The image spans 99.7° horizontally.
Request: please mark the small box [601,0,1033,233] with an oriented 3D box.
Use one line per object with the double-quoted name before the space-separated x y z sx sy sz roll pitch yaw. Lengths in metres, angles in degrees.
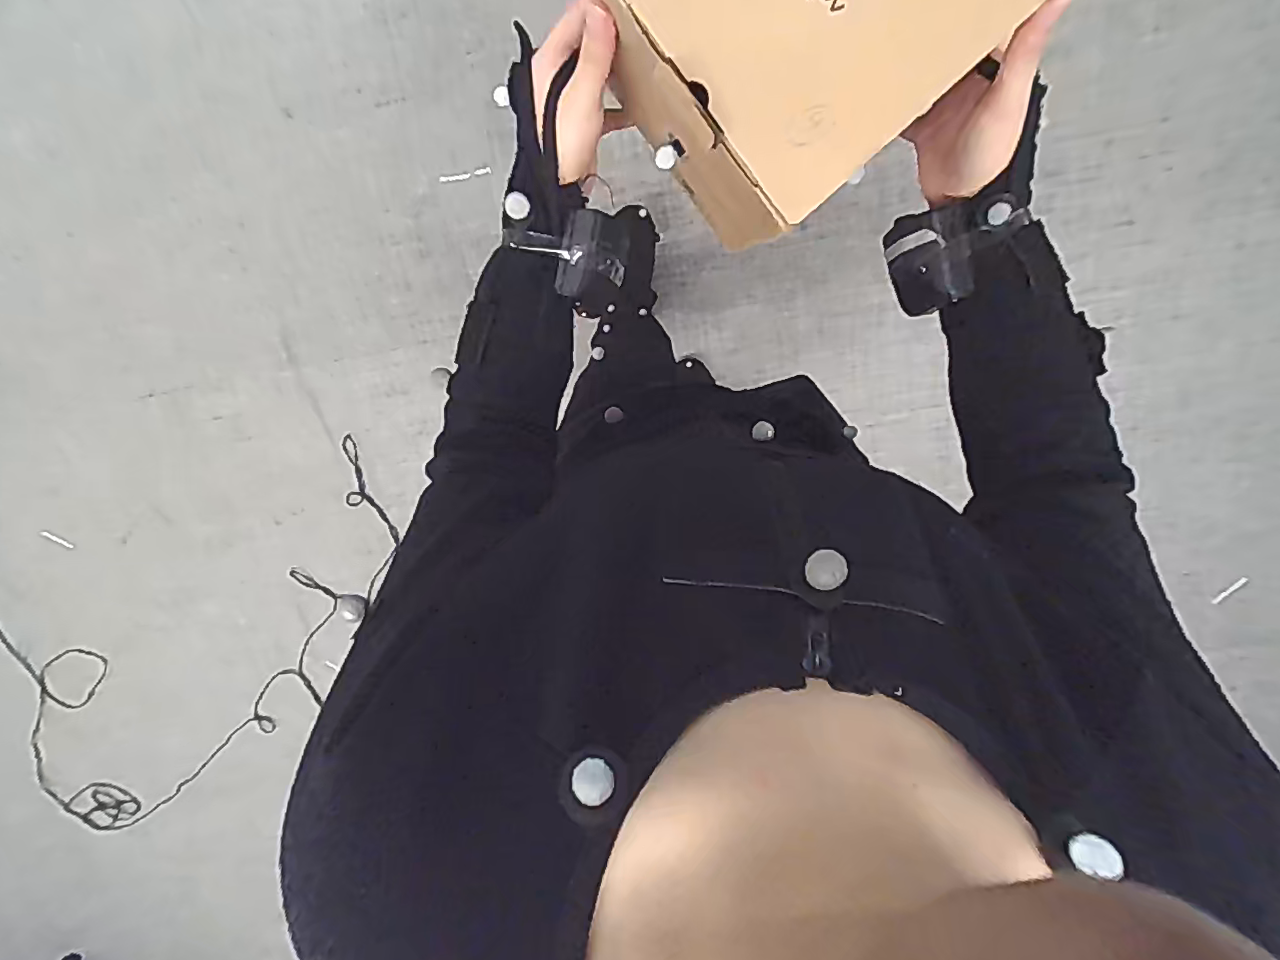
"small box" 0.091 -0.282 0.340 0.179 0.176 0.168 -39 106 12
